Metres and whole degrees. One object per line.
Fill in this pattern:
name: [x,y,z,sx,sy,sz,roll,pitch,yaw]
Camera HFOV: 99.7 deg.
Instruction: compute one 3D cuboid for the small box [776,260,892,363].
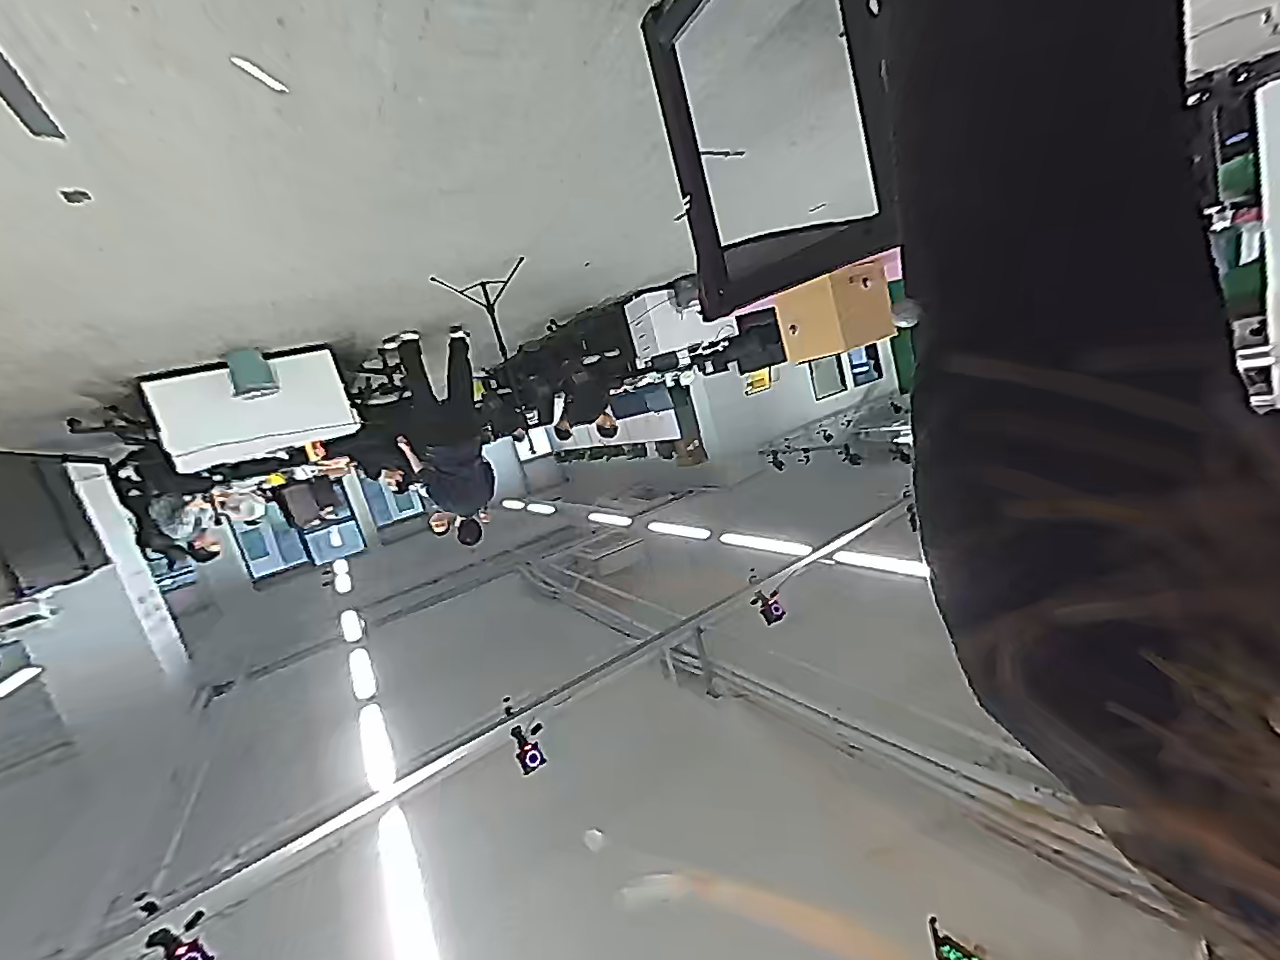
small box: [0.426,-0.375,1.210,0.168,0.176,0.179,-22,-168,-24]
